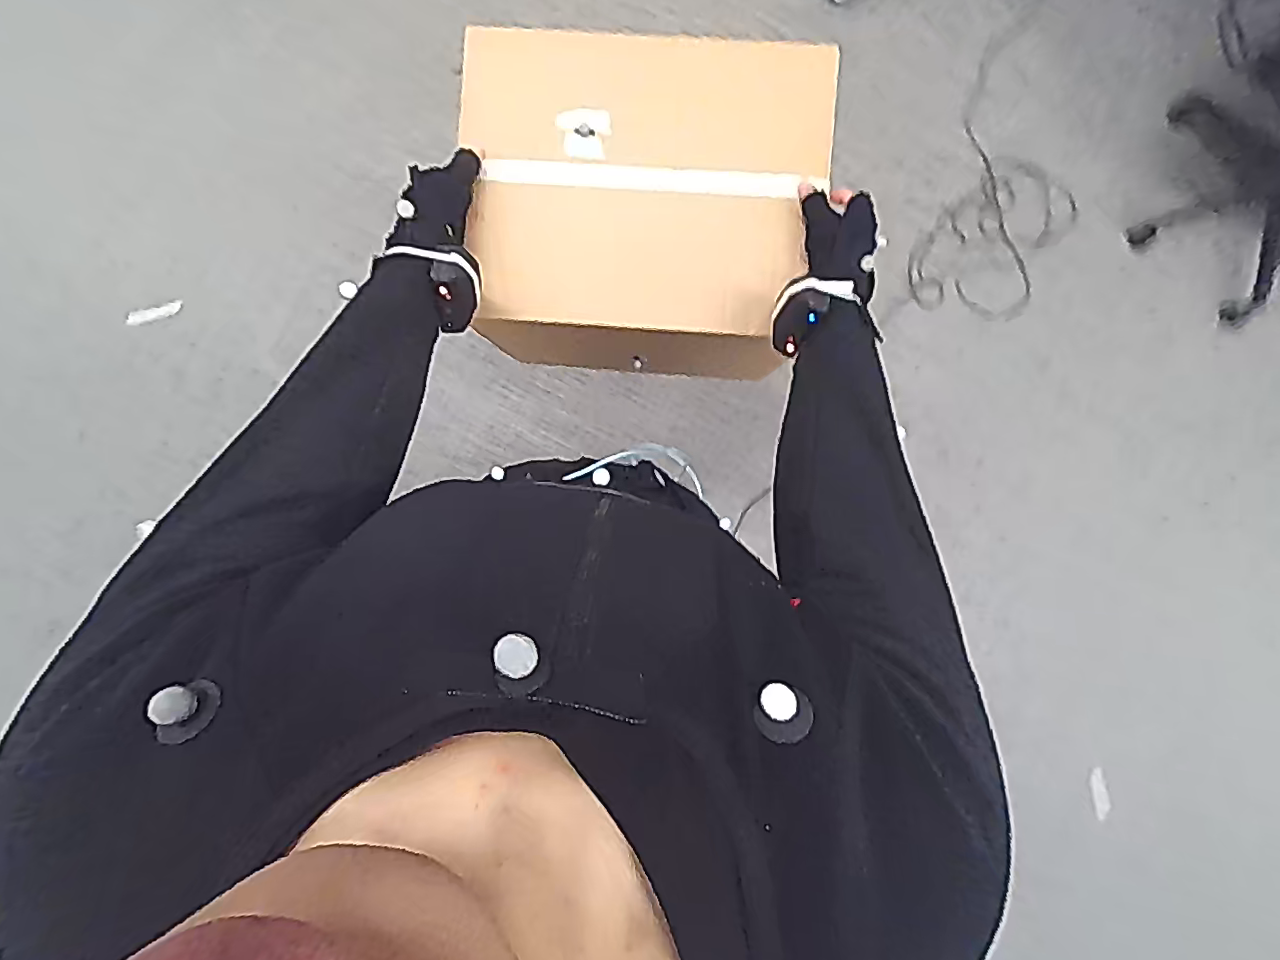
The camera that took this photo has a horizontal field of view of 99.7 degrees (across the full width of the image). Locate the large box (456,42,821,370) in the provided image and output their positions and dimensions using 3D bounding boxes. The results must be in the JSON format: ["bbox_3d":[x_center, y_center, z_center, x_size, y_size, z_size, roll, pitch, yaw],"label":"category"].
[{"bbox_3d":[0.002,-0.332,0.747,0.408,0.320,0.320,3,91,2],"label":"large box"}]
